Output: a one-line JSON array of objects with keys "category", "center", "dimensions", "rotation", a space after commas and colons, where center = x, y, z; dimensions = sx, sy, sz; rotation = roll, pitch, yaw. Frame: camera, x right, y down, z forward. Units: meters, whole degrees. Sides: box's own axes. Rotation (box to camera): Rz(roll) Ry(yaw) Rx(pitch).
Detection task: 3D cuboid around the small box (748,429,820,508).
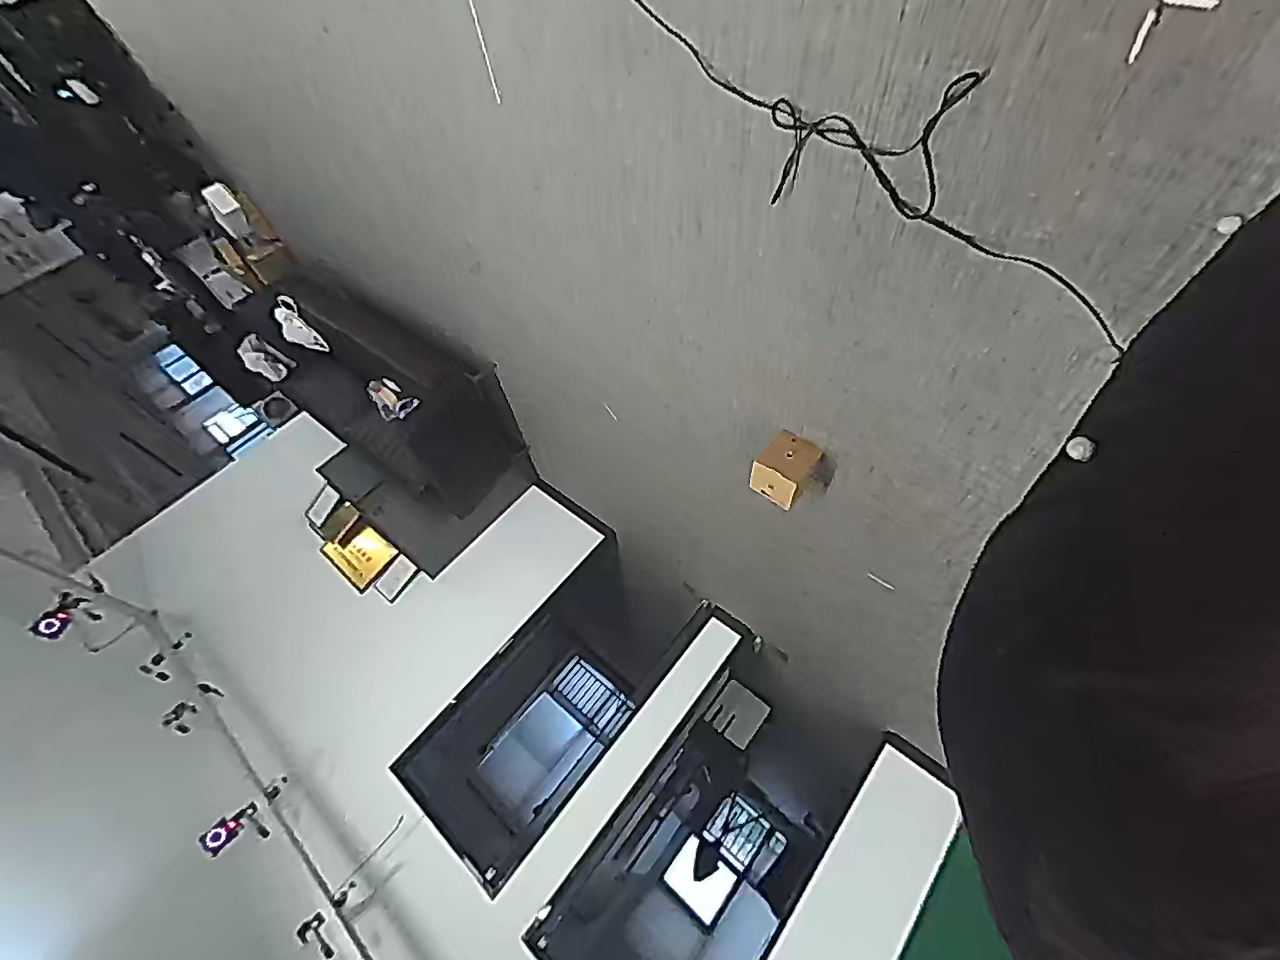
[{"category": "small box", "center": [0.499, -0.044, 1.868], "dimensions": [0.168, 0.176, 0.179], "rotation": [35, 156, 23]}]
